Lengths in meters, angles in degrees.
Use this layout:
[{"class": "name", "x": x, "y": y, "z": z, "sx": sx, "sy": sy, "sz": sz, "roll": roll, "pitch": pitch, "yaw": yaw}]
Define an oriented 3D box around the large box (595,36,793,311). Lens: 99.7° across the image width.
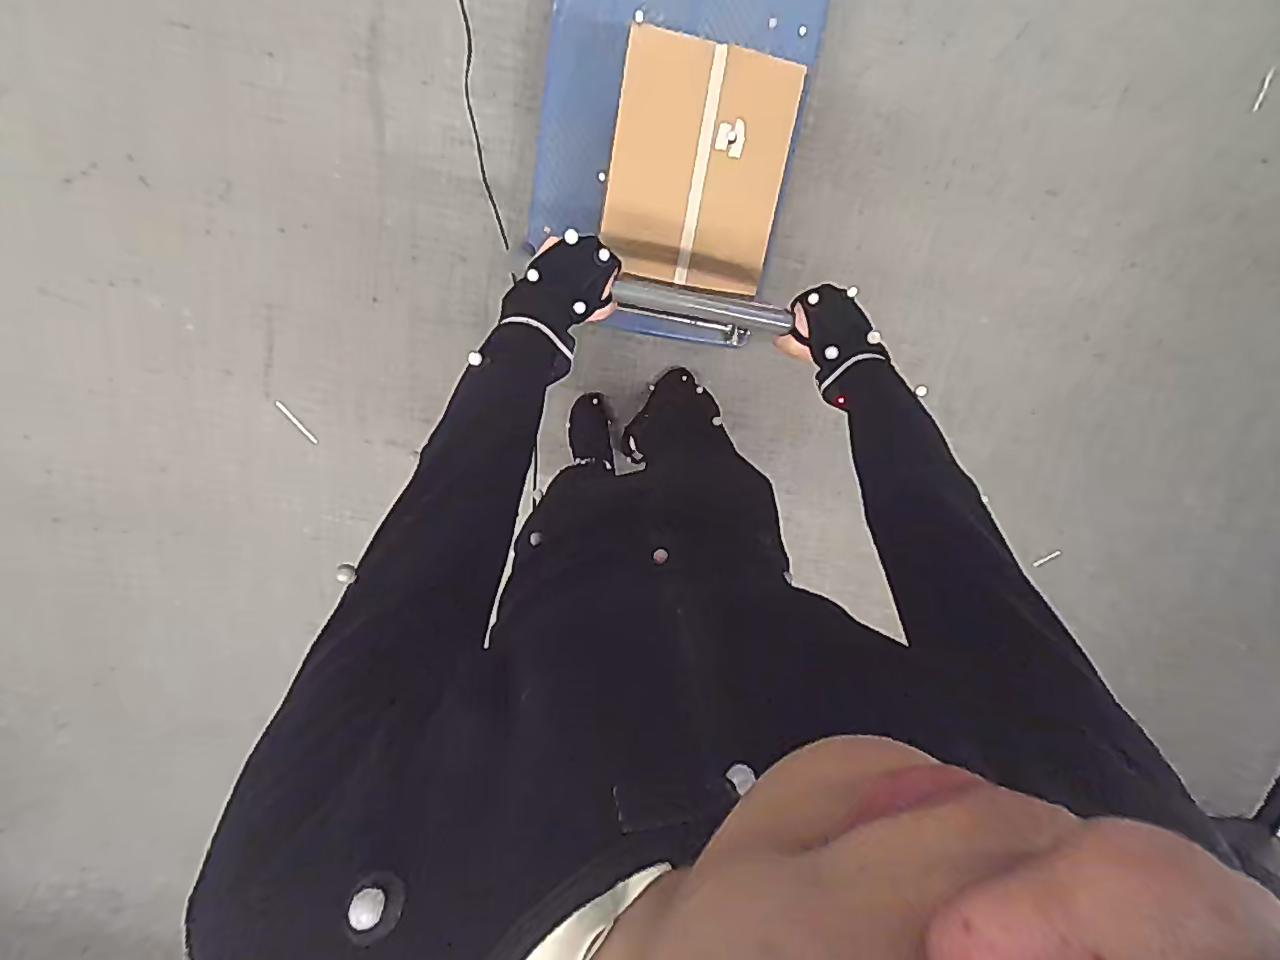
[{"class": "large box", "x": 0.081, "y": -0.583, "z": 1.125, "sx": 0.320, "sy": 0.320, "sz": 0.408, "roll": 7, "pitch": 104, "yaw": -9}]
